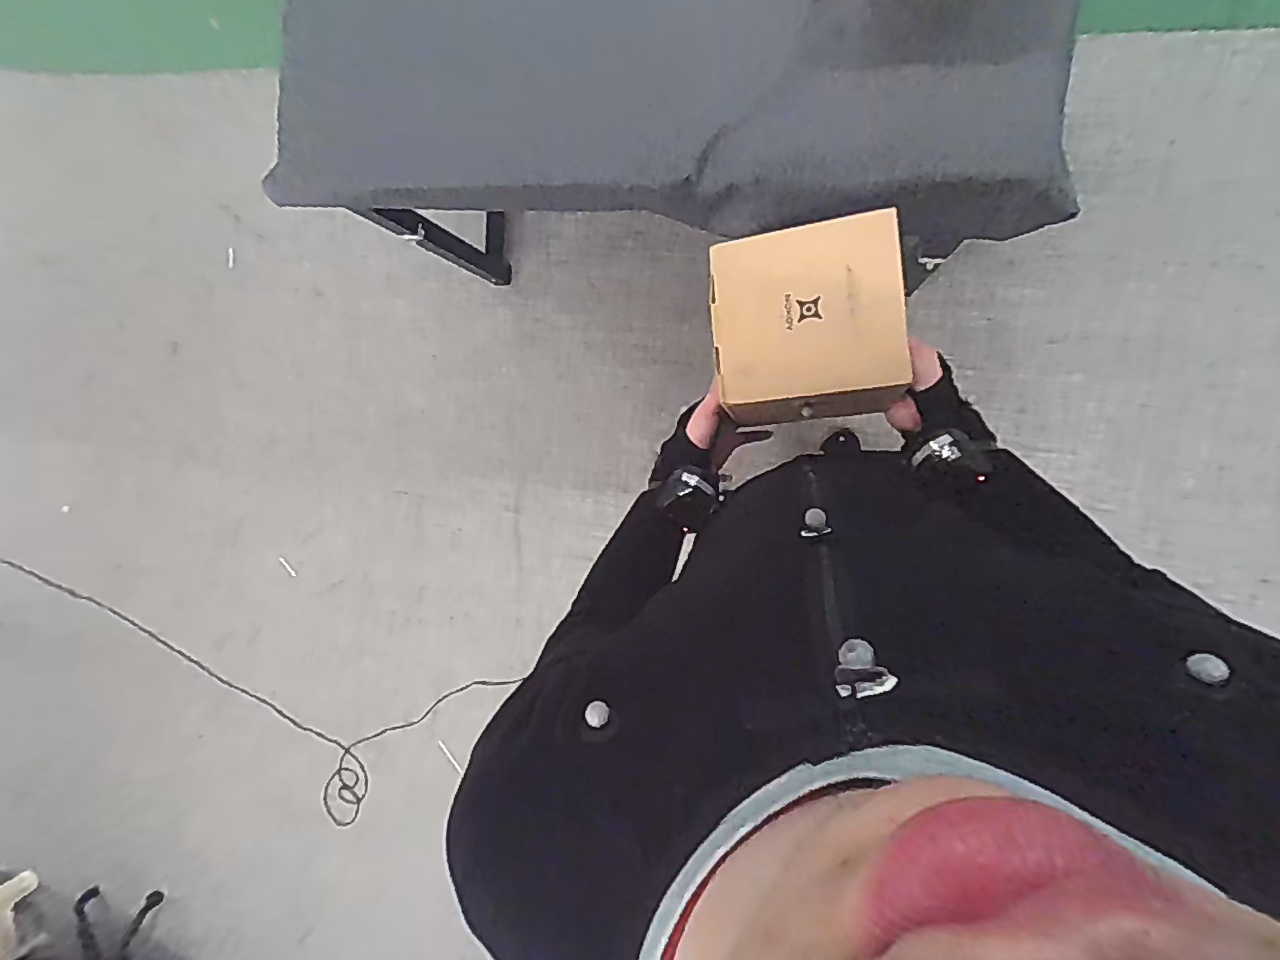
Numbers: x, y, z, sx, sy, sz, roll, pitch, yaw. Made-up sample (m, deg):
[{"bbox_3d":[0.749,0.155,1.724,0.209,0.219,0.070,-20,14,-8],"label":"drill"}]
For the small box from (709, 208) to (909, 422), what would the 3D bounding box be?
[{"bbox_3d":[0.180,-0.161,0.593,0.179,0.176,0.168,-5,88,16],"label":"small box"}]
